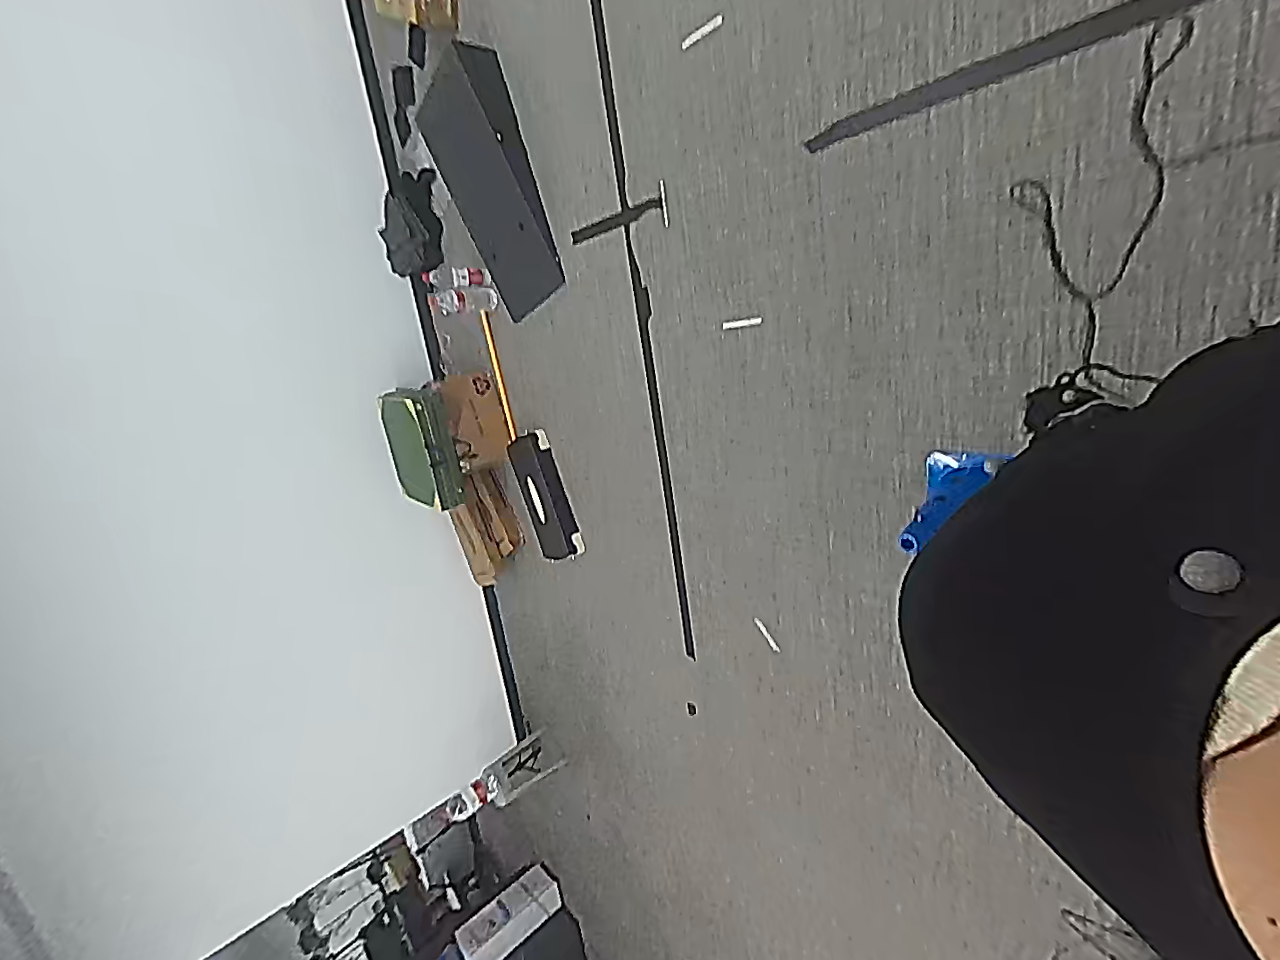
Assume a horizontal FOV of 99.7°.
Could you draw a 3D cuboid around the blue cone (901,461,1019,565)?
[{"bbox_3d":[0.672,0.094,1.190,0.193,0.380,0.192,9,113,49],"label":"blue cone"}]
